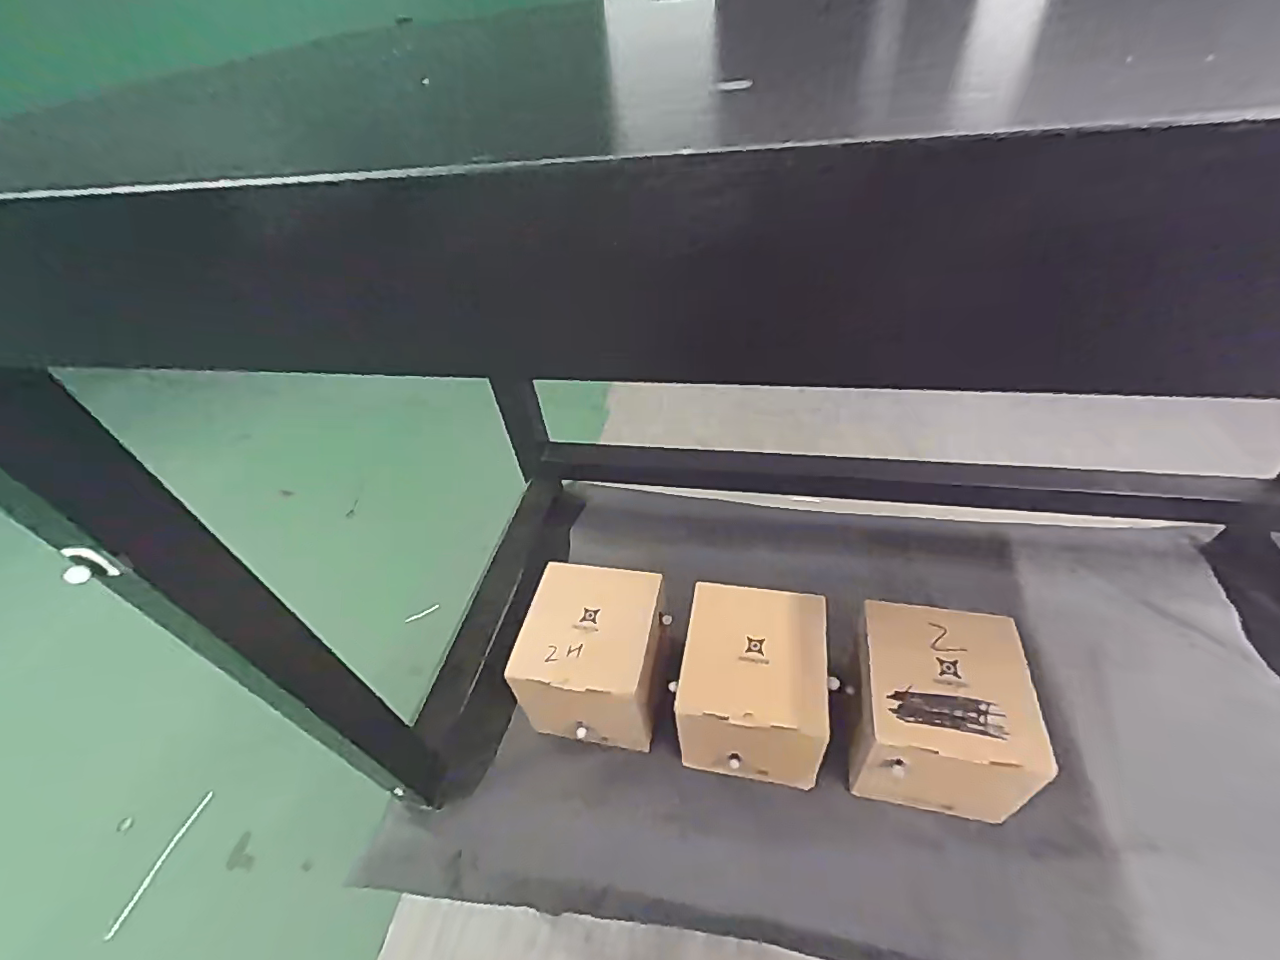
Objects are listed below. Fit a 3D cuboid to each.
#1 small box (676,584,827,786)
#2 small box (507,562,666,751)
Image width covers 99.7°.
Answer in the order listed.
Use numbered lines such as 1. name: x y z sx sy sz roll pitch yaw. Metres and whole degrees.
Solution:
1. small box: 0.143 0.261 0.697 0.168 0.176 0.179 5 45 13
2. small box: -0.058 0.240 0.745 0.168 0.176 0.179 4 45 13
